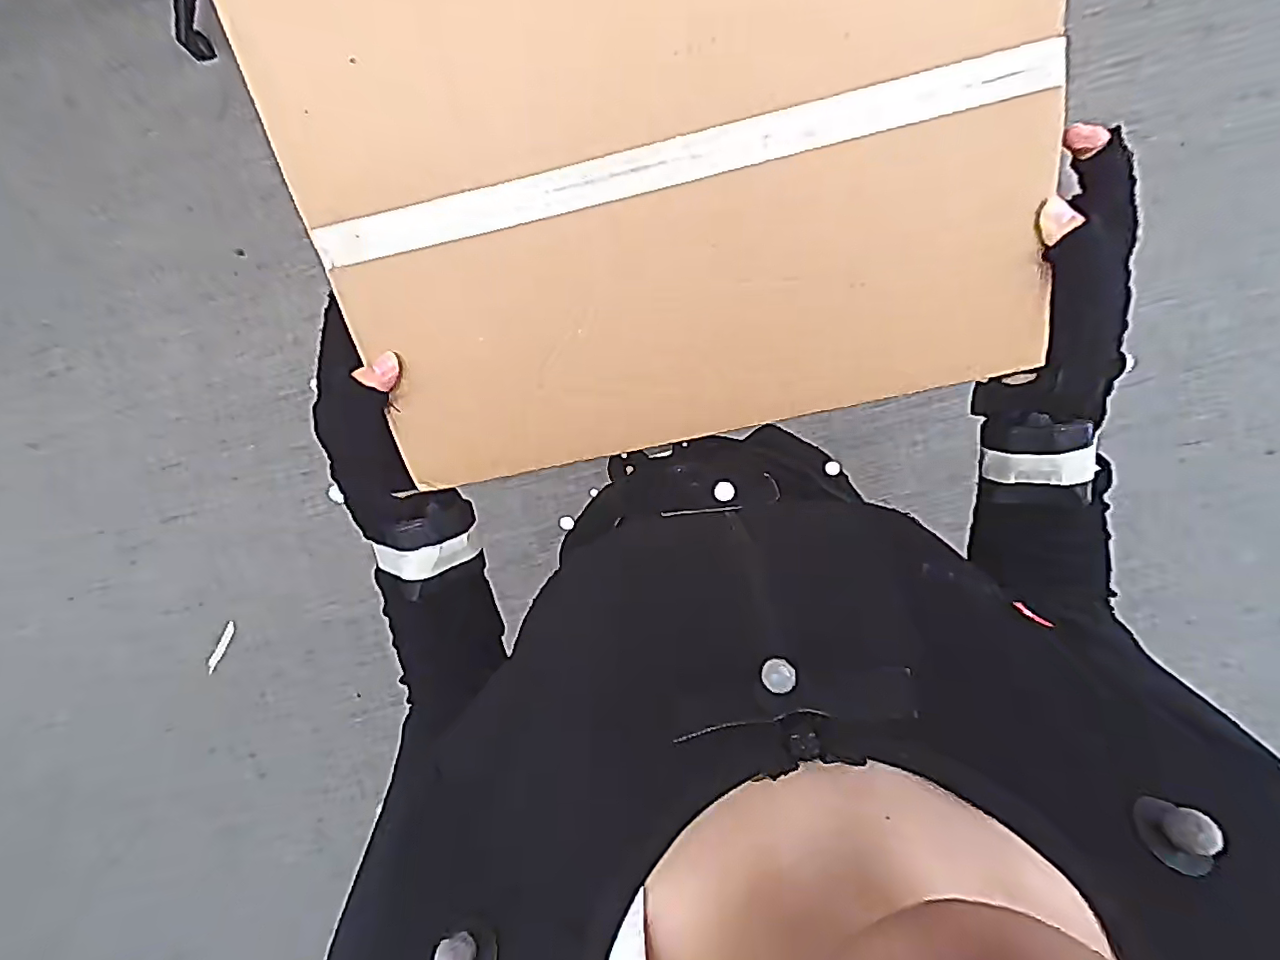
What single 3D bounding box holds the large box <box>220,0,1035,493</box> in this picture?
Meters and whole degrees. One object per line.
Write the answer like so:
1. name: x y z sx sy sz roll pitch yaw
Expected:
1. large box: 0.013 -0.227 0.439 0.408 0.320 0.320 -11 112 5
